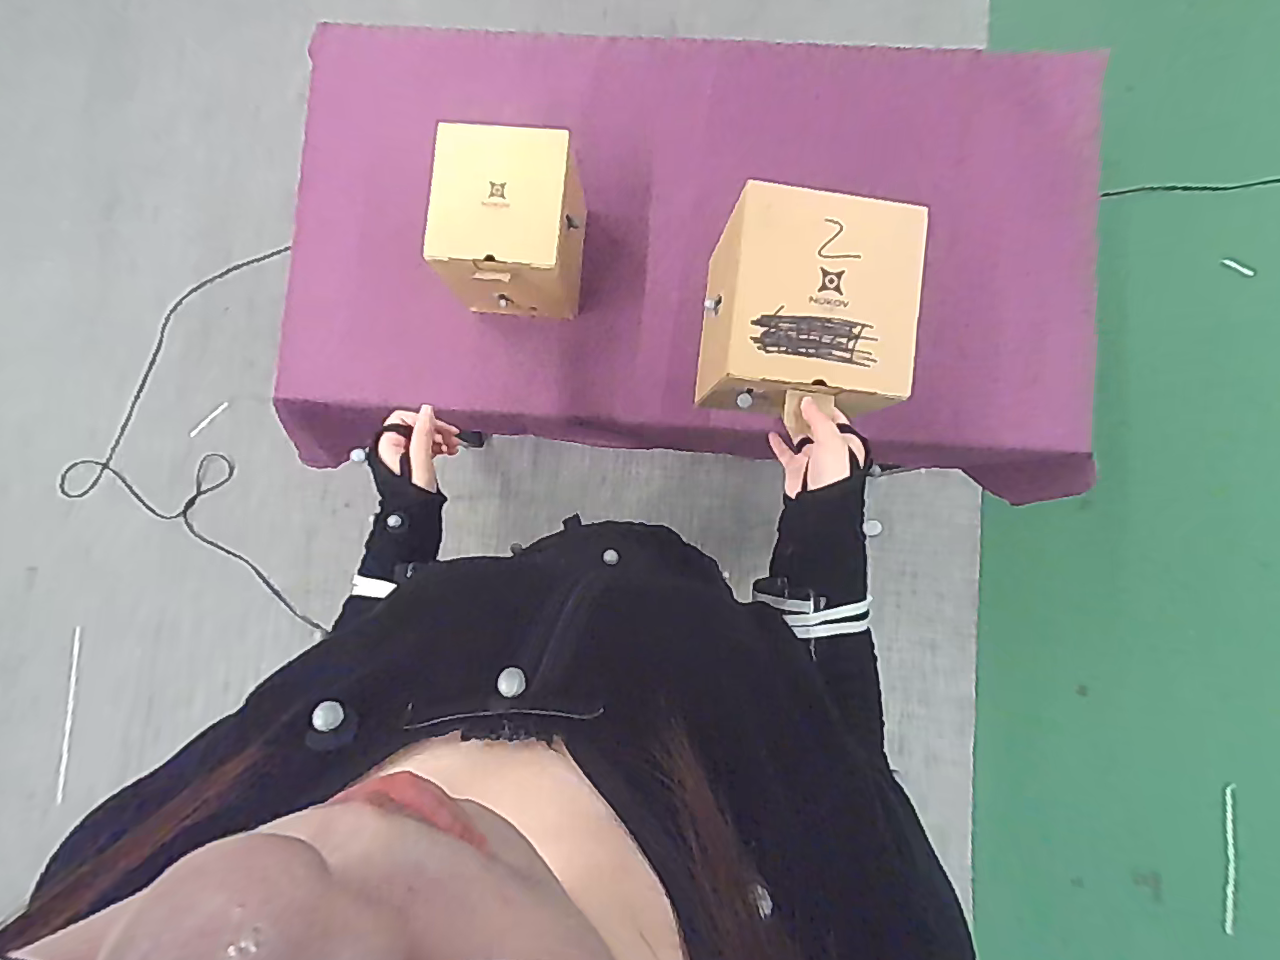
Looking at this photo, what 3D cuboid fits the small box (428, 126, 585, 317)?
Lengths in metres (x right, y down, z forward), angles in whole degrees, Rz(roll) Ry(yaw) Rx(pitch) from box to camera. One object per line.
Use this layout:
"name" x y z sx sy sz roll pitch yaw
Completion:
"small box" -0.173 -0.349 0.755 0.168 0.176 0.179 5 87 2
